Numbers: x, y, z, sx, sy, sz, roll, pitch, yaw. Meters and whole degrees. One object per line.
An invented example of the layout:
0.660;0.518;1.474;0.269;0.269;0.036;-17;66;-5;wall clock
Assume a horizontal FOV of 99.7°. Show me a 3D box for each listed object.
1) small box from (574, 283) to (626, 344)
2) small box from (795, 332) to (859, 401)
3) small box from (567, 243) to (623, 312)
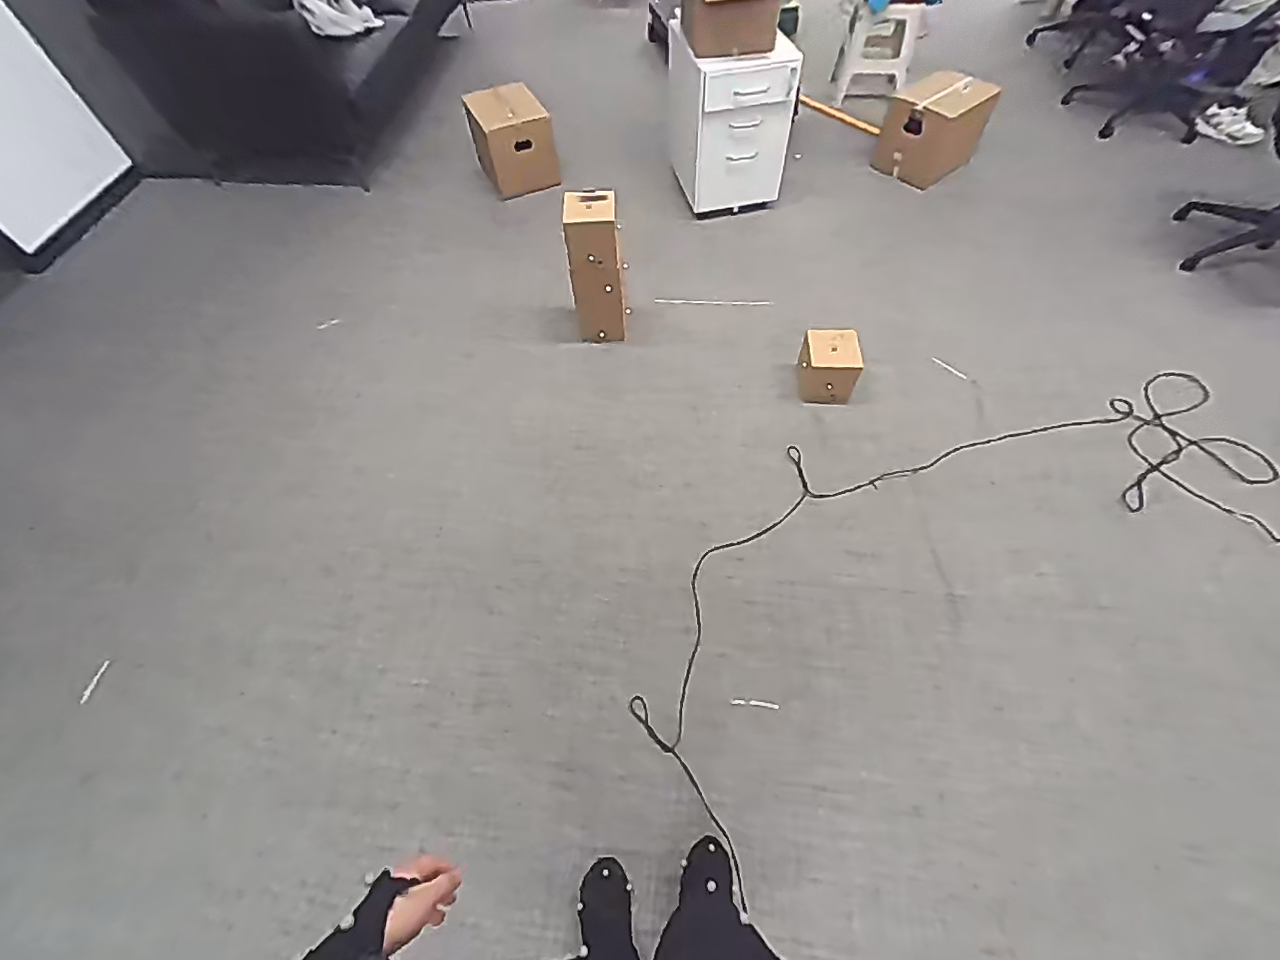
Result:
-0.148;-0.641;2.077;0.179;0.176;0.168;2;57;4;small box
0.638;-0.389;1.864;0.168;0.176;0.179;2;57;3;small box
-0.155;-0.721;1.935;0.179;0.176;0.168;-1;56;4;small box
